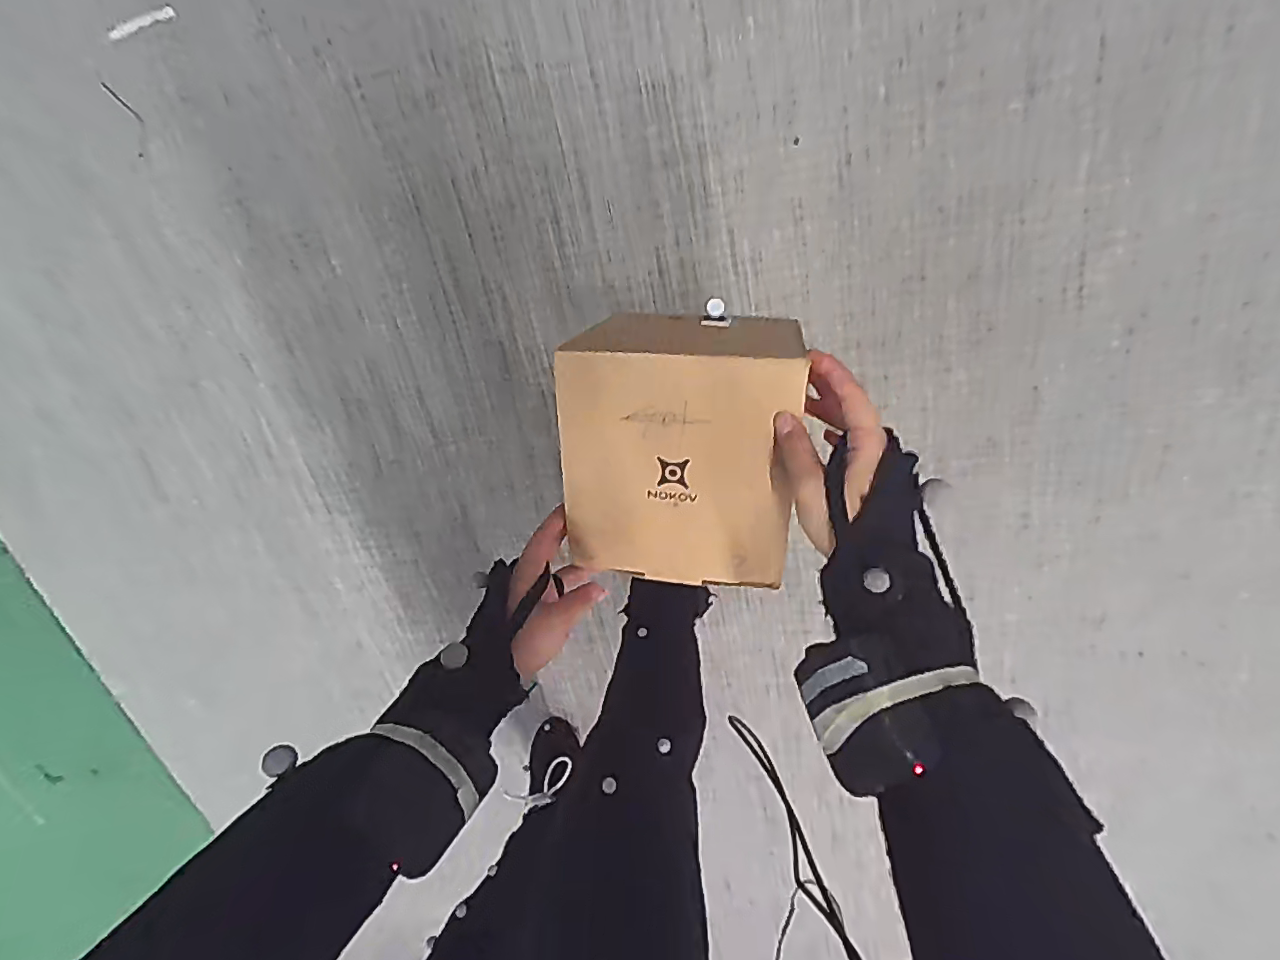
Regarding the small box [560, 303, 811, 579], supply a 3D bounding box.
[{"bbox_3d":[0.043,-0.044,0.451,0.168,0.176,0.179,4,115,10],"label":"small box"}]
